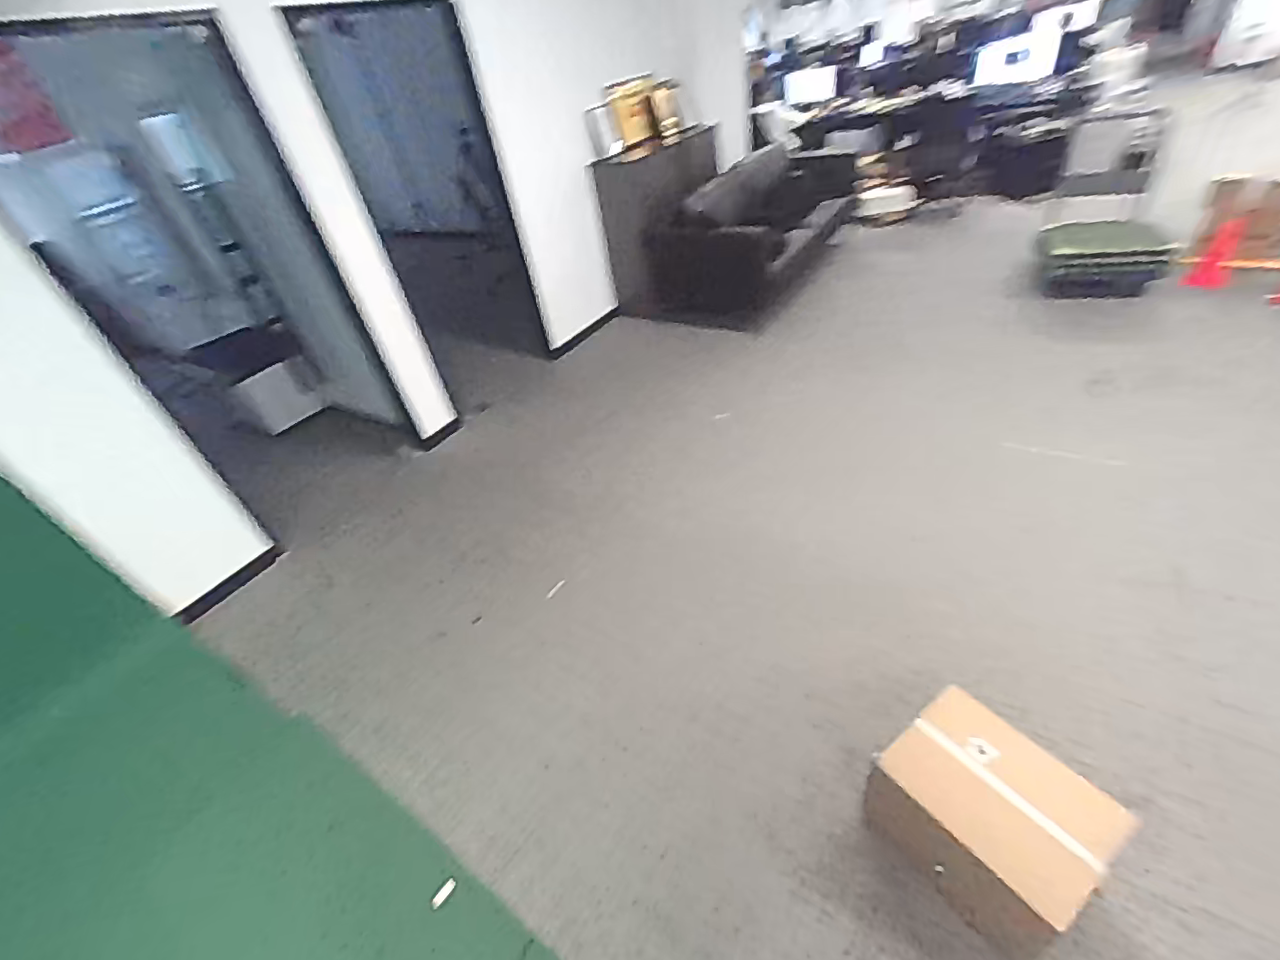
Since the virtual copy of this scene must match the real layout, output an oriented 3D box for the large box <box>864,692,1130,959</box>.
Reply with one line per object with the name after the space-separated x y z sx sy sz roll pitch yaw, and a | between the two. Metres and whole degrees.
0.801 0.807 1.275 0.320 0.320 0.408 -29 39 -23 | large box
